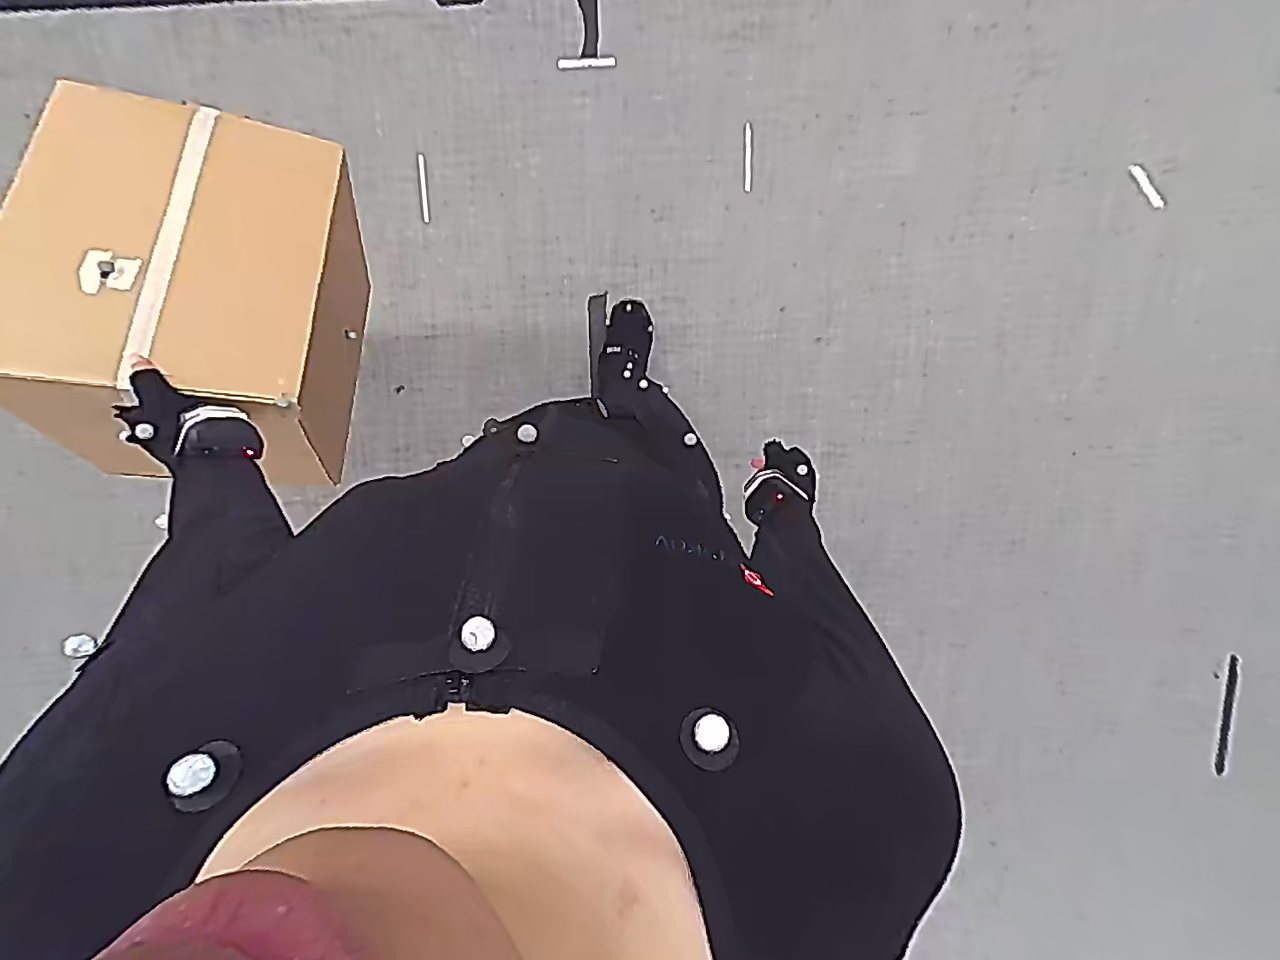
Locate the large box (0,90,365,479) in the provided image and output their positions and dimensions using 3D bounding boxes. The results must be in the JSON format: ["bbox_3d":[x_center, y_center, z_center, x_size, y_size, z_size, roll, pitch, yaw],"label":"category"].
[{"bbox_3d":[-0.605,-0.244,0.791,0.320,0.320,0.408,4,70,-18],"label":"large box"}]
